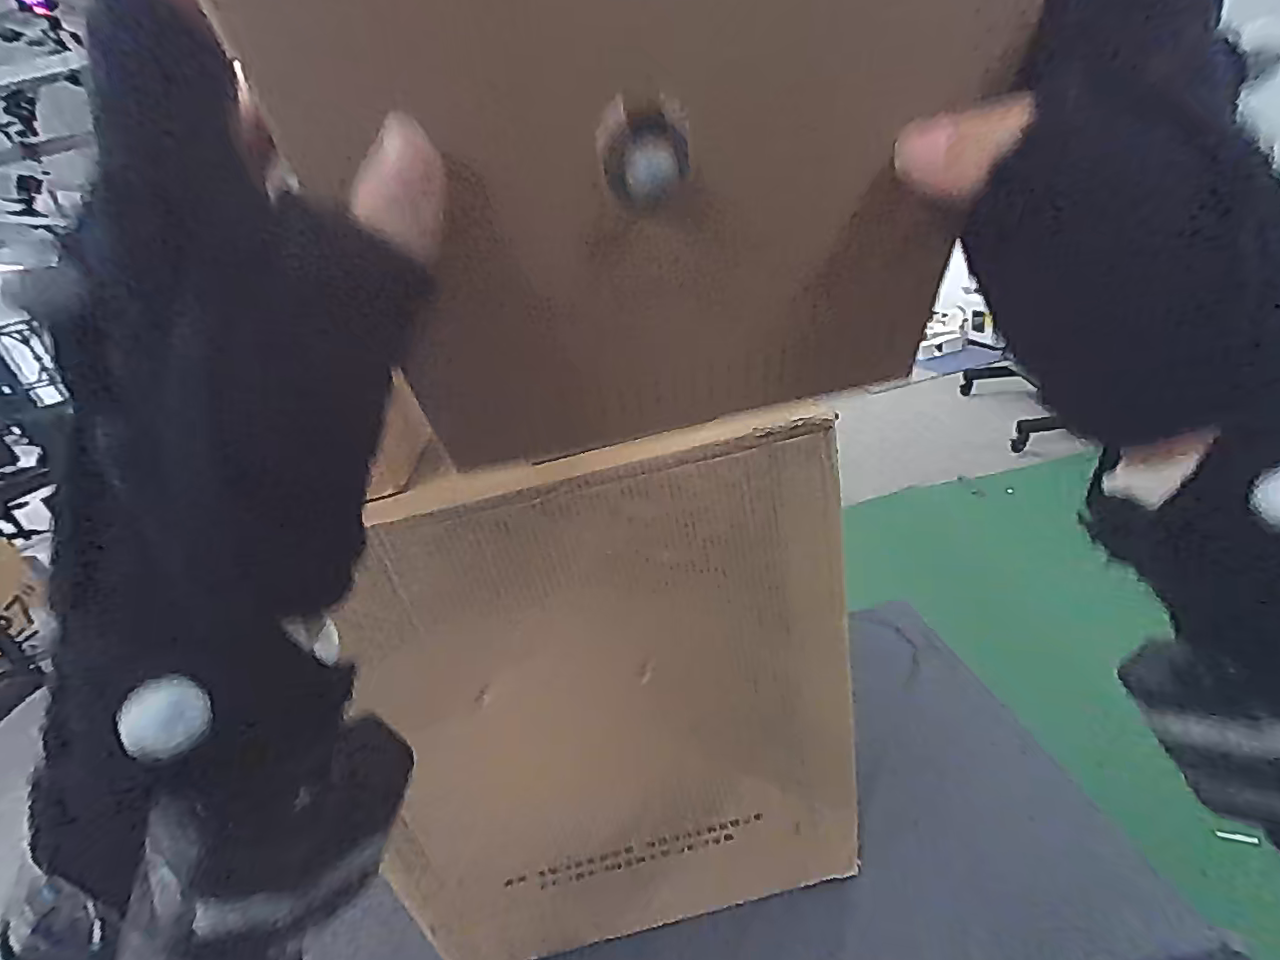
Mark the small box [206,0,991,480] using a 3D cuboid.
[{"bbox_3d":[-0.008,-0.123,0.217,0.179,0.176,0.168,-12,48,-1],"label":"small box"}]
